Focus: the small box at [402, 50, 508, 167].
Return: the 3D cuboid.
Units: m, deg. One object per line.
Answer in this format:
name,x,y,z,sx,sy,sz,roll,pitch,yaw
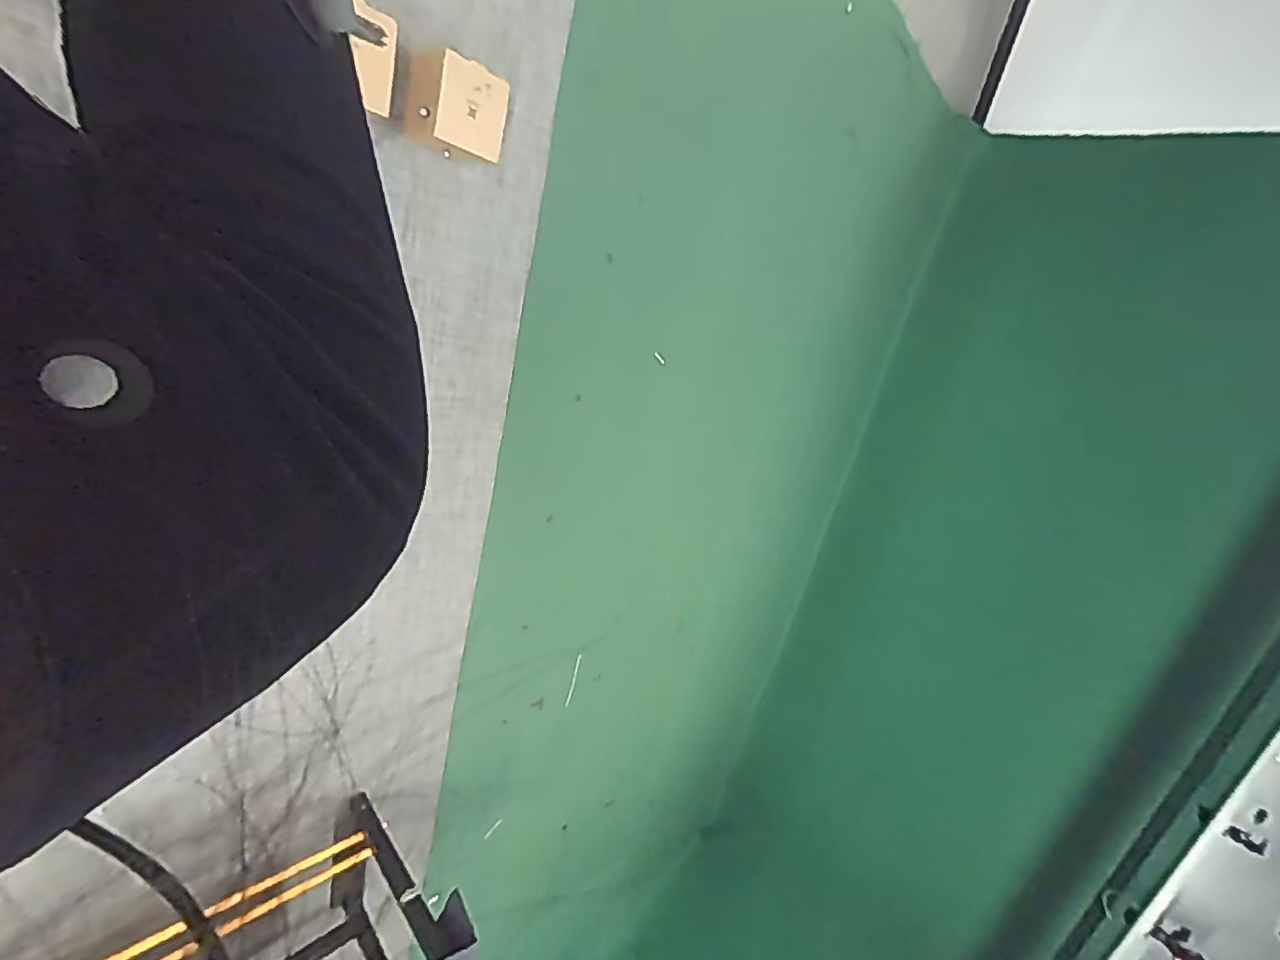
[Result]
small box,-0.440,-0.862,1.271,0.168,0.176,0.179,-4,115,-49
